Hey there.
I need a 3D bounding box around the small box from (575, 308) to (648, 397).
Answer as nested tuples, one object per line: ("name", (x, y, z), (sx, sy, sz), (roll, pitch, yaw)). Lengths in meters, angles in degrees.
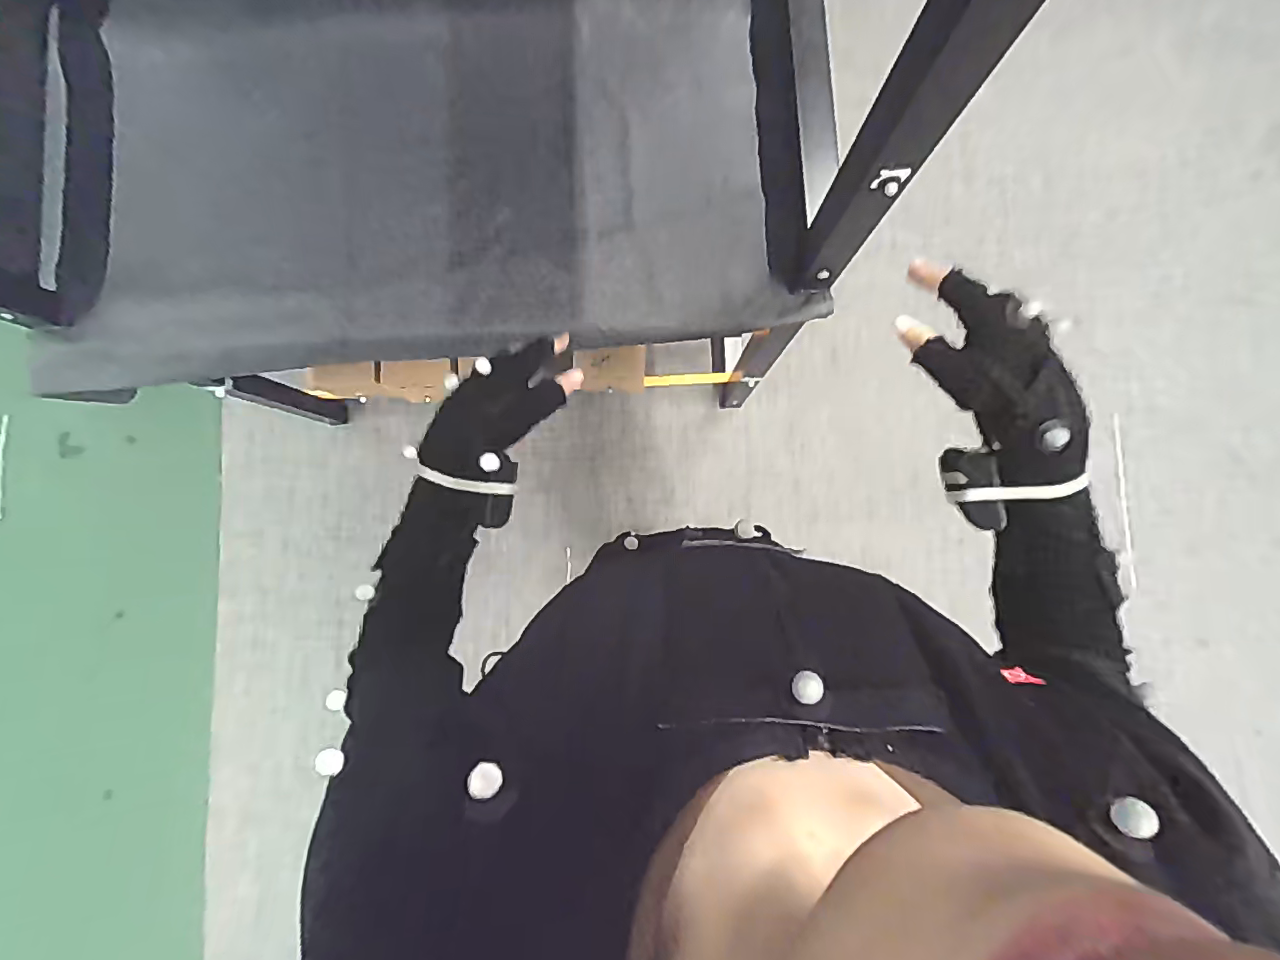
("small box", (-0.067, -0.316, 1.361), (0.168, 0.176, 0.179), (2, 87, 3))
